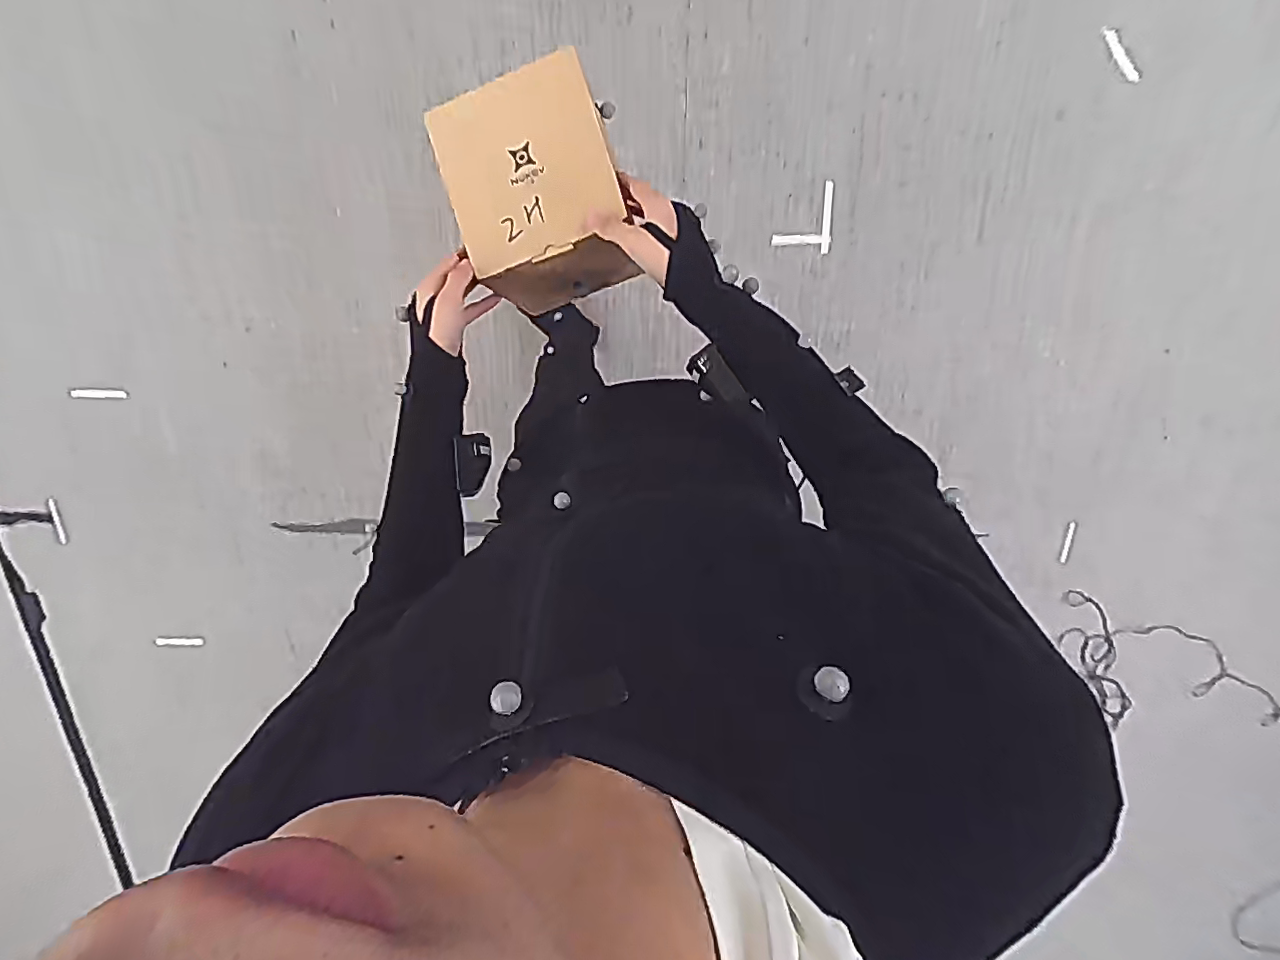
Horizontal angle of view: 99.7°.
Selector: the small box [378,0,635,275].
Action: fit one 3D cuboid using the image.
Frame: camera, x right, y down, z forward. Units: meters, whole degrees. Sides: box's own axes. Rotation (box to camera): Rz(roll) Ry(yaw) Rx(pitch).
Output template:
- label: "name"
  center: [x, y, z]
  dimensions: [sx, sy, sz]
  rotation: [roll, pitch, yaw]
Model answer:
- label: "small box"
  center: [-0.114, -0.331, 0.534]
  dimensions: [0.168, 0.176, 0.179]
  rotation: [-17, 94, 10]
